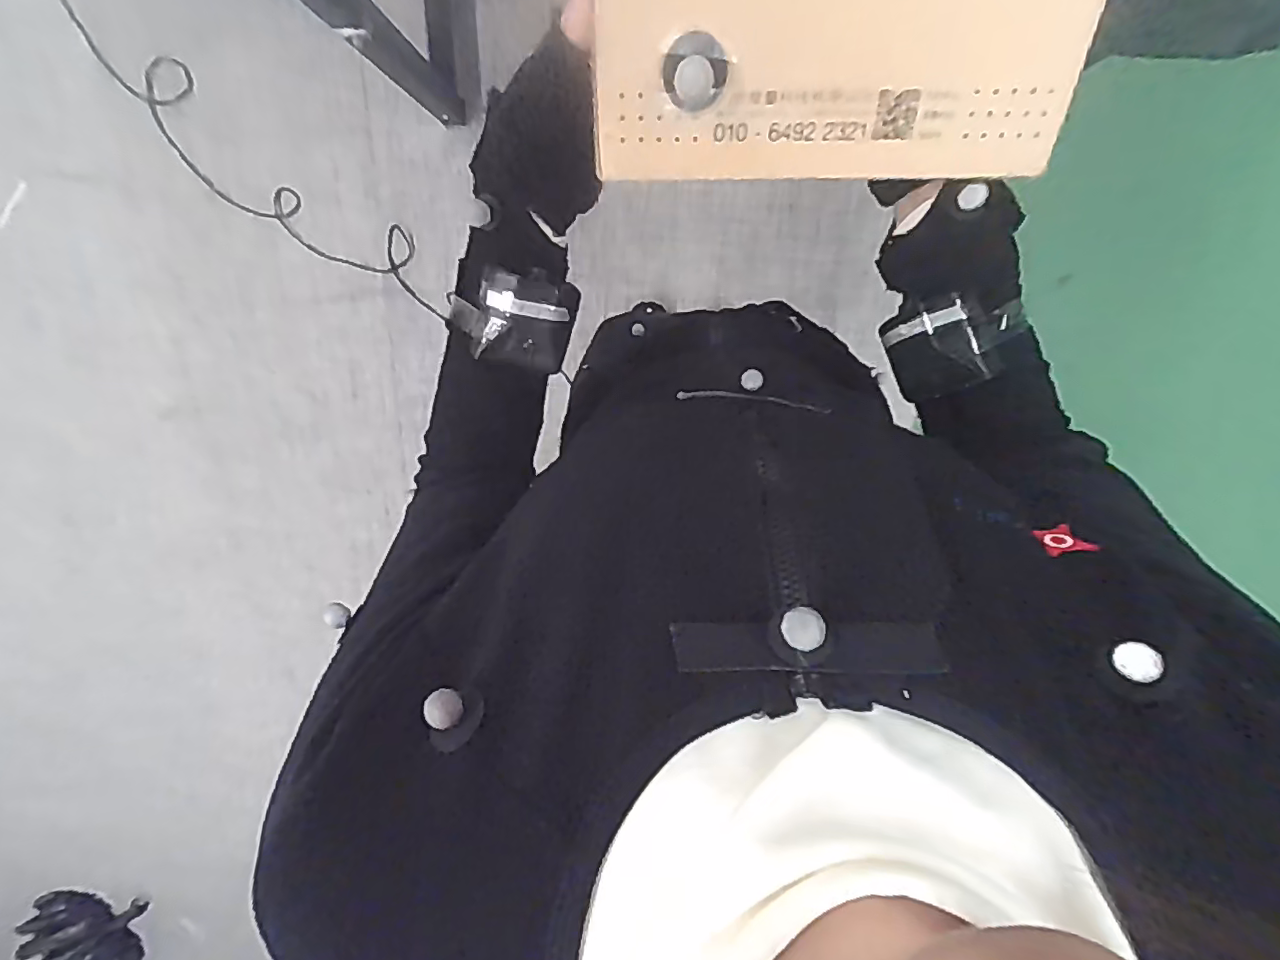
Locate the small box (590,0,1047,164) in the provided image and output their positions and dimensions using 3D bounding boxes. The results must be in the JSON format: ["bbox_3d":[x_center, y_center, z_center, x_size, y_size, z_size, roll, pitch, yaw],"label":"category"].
[{"bbox_3d":[0.062,-0.237,0.234,0.168,0.179,0.176,-1,123,-1],"label":"small box"}]
